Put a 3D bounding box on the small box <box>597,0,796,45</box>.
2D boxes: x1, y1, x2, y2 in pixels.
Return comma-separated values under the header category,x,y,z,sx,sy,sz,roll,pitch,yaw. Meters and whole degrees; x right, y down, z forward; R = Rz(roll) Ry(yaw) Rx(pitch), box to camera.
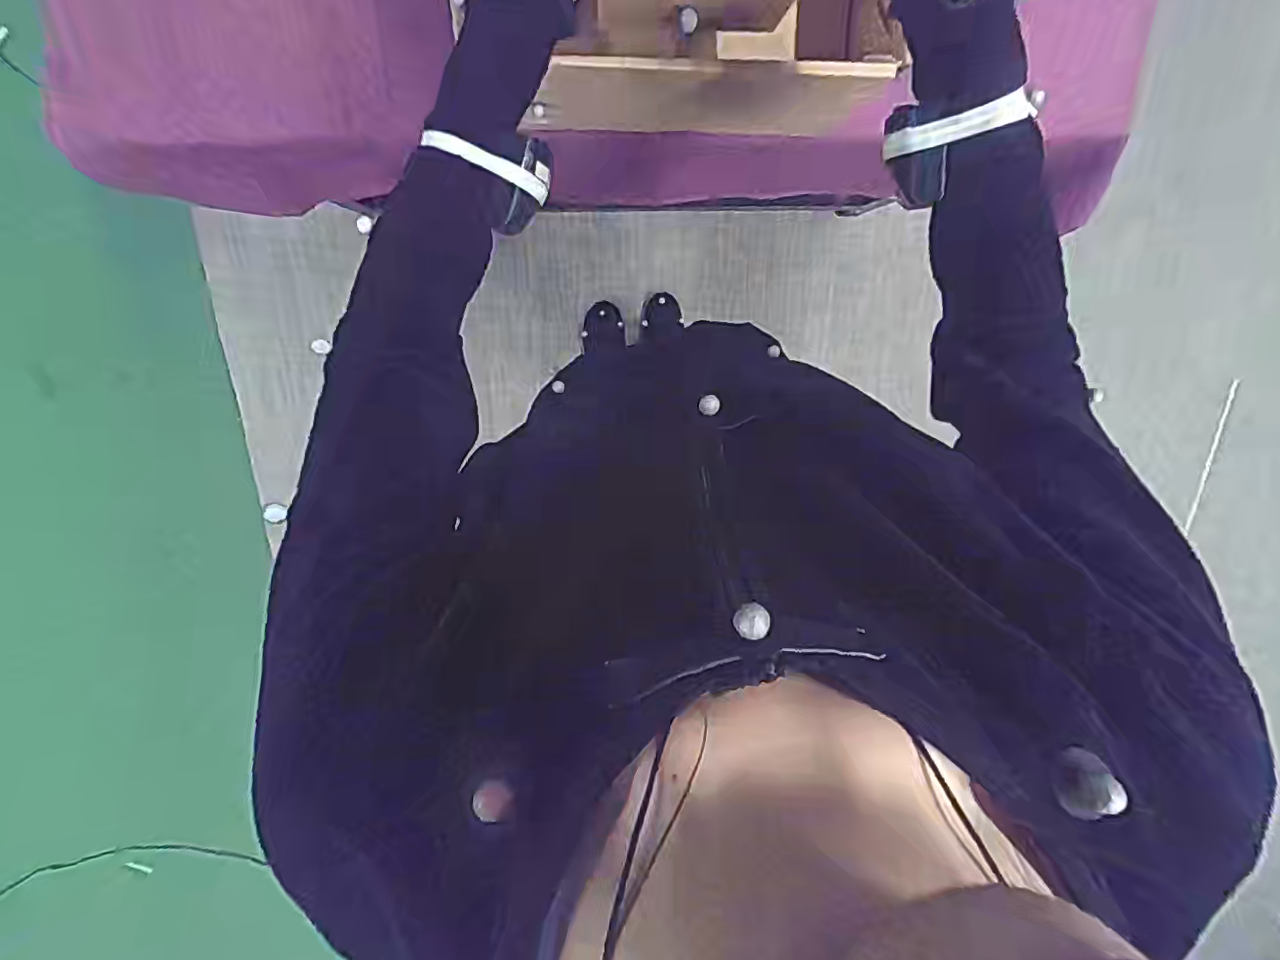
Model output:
category,x,y,z,sx,sy,sz,roll,pitch,yaw
small box,0.047,-0.464,0.400,0.168,0.176,0.179,0,112,-3
